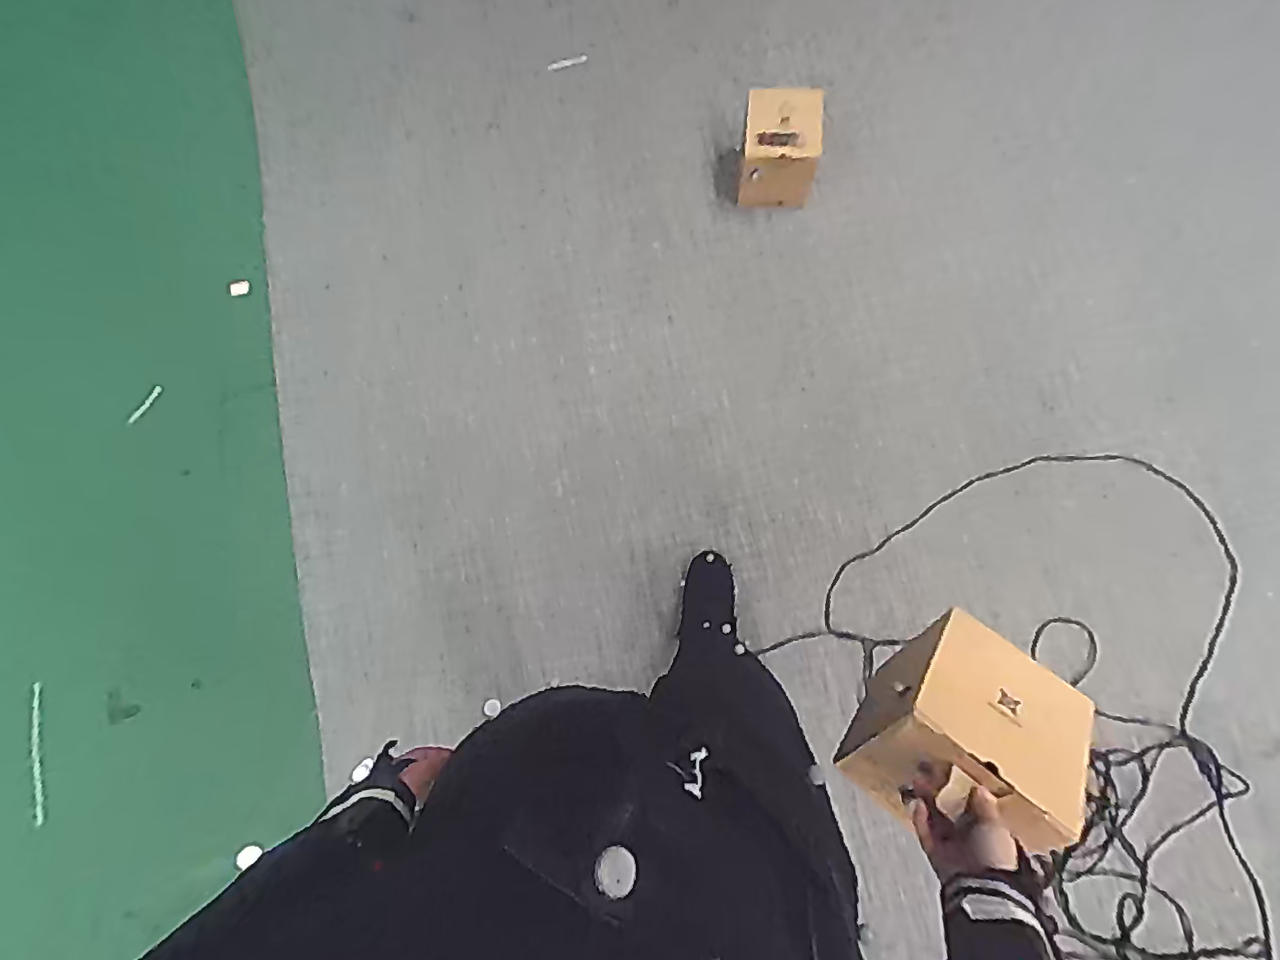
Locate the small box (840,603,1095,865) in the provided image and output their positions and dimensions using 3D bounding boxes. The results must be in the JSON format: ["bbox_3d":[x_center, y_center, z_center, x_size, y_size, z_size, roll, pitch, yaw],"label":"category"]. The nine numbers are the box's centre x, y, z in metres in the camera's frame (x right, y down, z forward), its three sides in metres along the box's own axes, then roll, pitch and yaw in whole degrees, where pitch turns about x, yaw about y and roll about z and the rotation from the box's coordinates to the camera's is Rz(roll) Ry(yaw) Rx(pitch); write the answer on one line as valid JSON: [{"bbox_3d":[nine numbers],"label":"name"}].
[{"bbox_3d":[0.354,0.280,0.603,0.168,0.176,0.179,37,47,18],"label":"small box"}]
